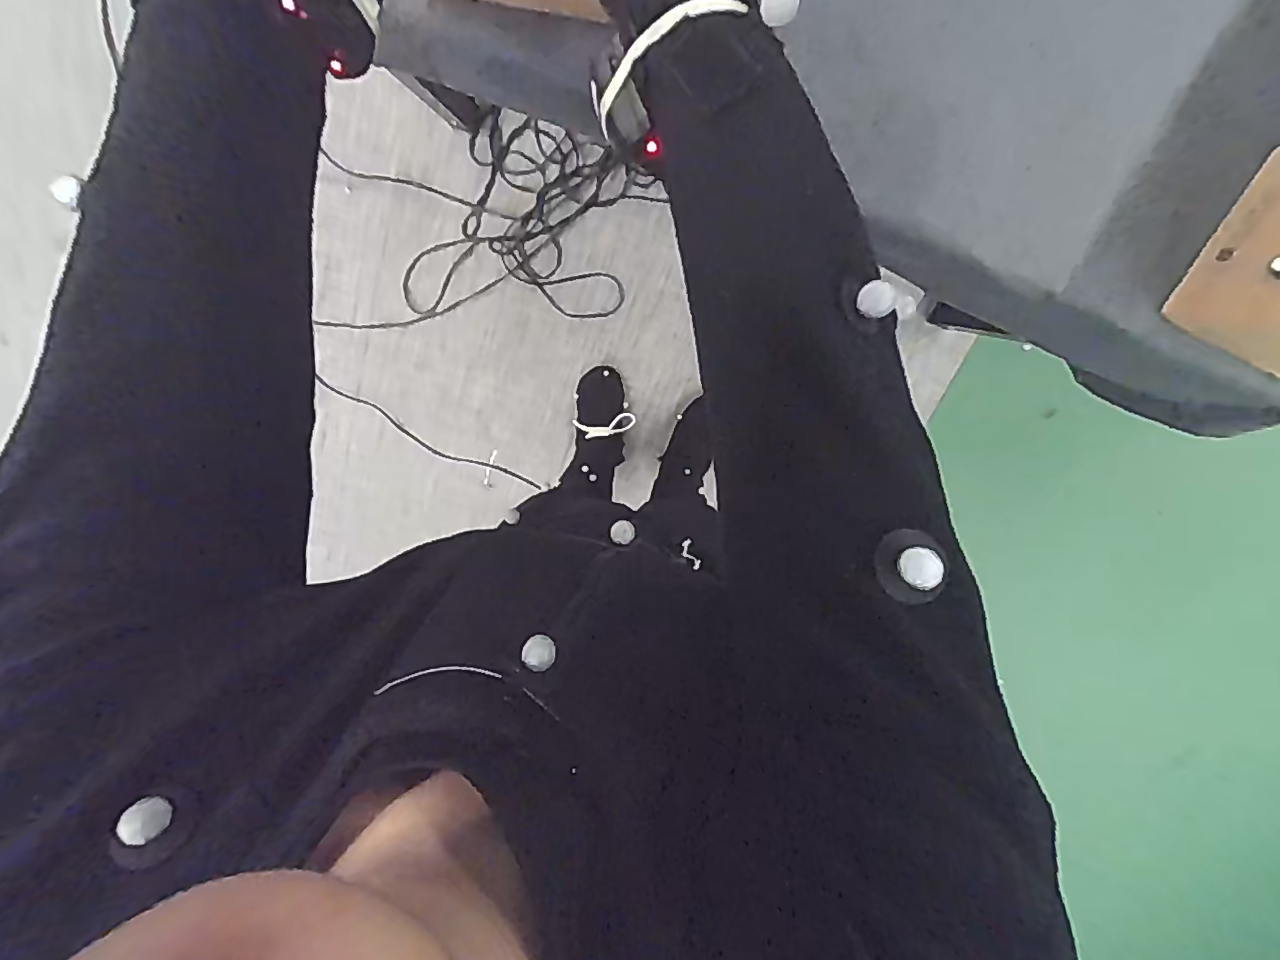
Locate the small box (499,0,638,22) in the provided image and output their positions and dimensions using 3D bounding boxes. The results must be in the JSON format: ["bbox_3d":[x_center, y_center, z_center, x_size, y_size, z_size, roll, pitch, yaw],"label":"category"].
[{"bbox_3d":[-0.067,-0.430,0.339,0.179,0.176,0.168,7,110,-5],"label":"small box"}]
